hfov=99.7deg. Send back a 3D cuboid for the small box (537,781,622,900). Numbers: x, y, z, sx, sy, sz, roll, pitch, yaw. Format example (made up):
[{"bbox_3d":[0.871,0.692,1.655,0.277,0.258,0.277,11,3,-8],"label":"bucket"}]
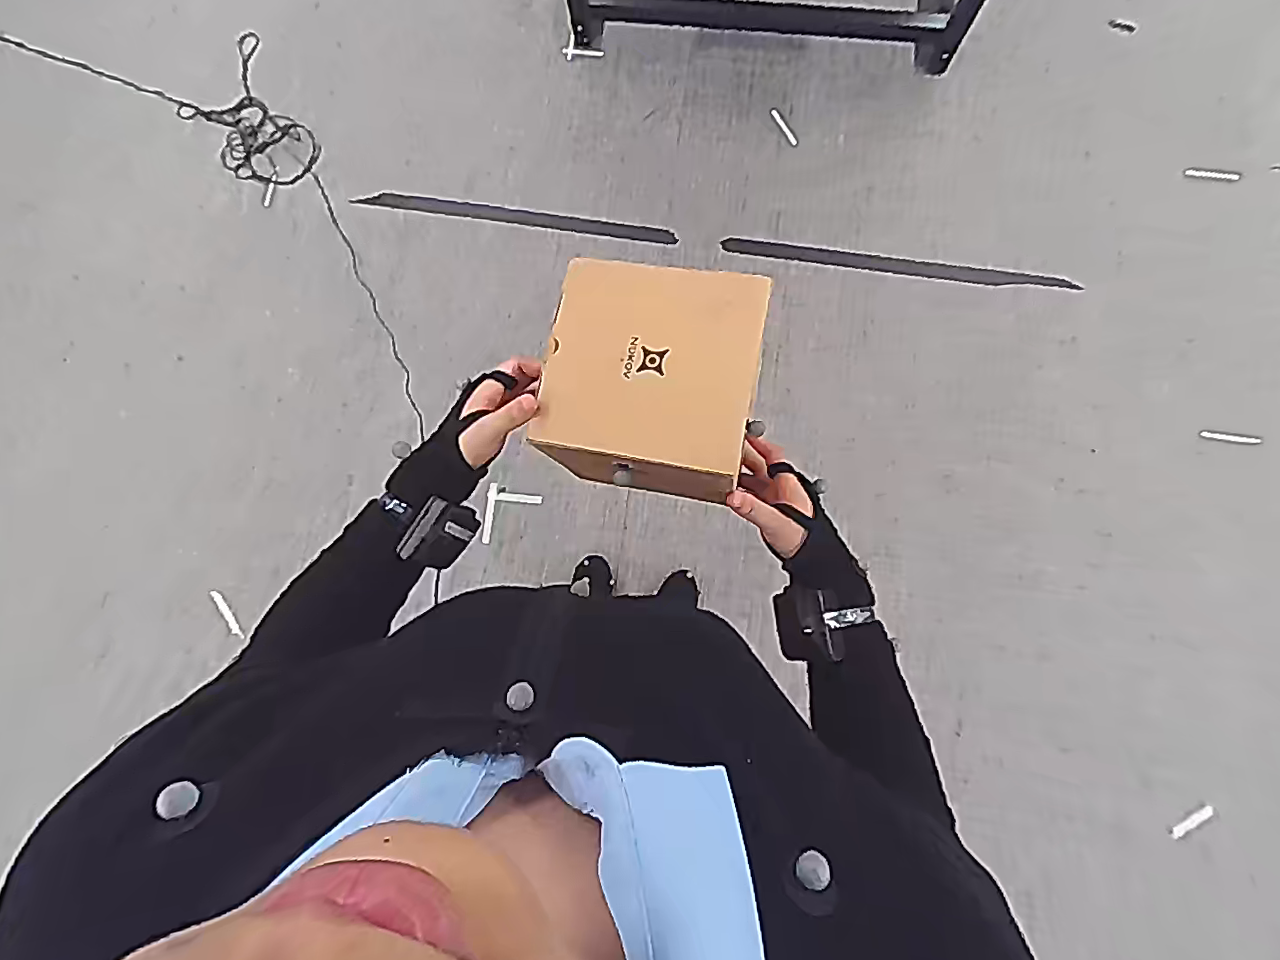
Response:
[{"bbox_3d":[-0.139,0.872,1.328,0.168,0.176,0.179,10,82,4],"label":"small box"}]

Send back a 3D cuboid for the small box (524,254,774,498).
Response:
[{"bbox_3d":[0.019,-0.084,0.507,0.179,0.176,0.168,10,82,12],"label":"small box"}]
